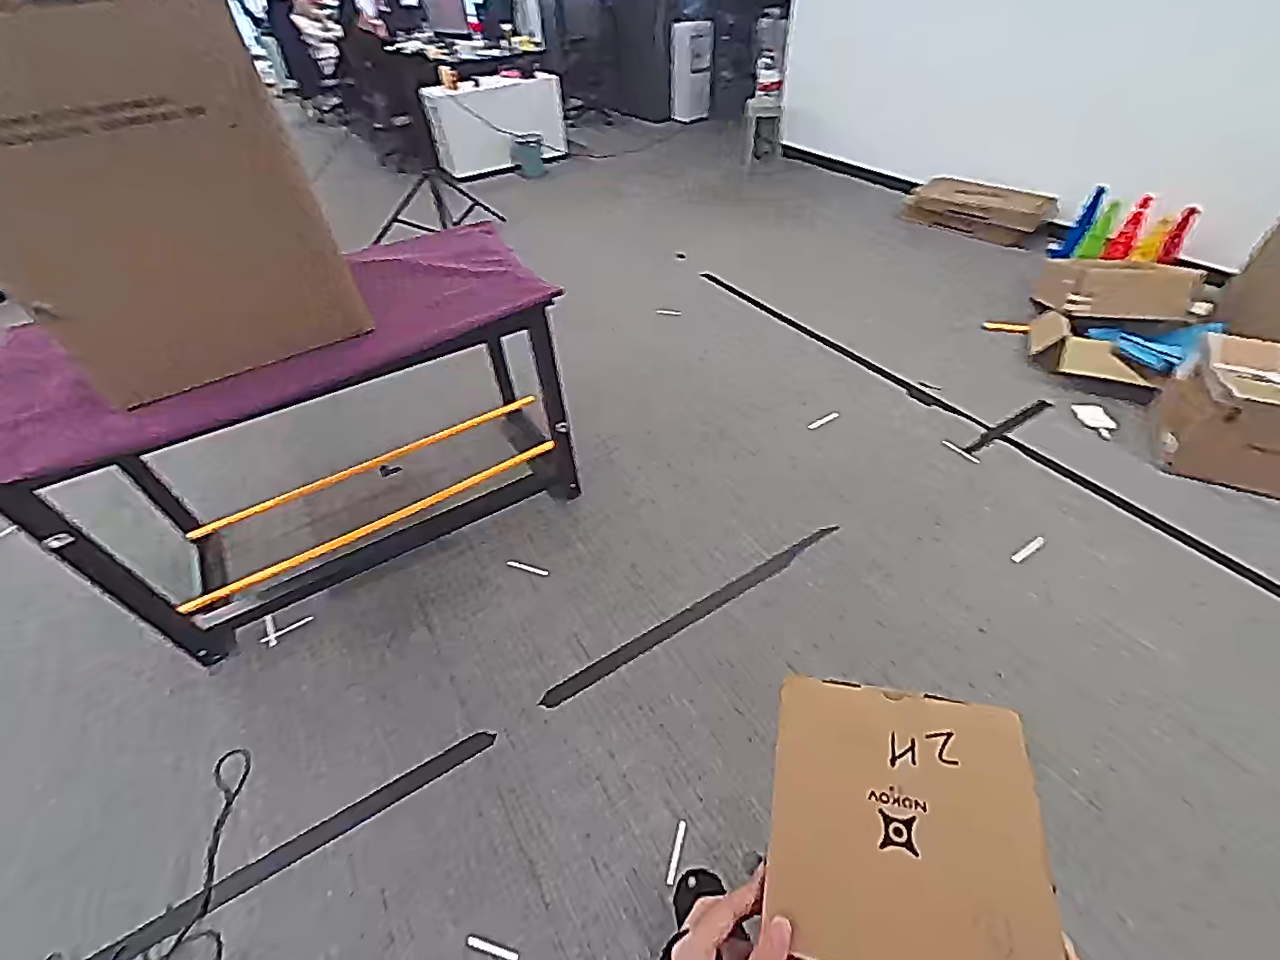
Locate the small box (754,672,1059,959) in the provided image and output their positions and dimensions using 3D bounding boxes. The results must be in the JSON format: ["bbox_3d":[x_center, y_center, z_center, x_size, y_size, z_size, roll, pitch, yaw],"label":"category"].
[{"bbox_3d":[0.183,0.275,0.413,0.168,0.176,0.179,3,48,17],"label":"small box"}]
